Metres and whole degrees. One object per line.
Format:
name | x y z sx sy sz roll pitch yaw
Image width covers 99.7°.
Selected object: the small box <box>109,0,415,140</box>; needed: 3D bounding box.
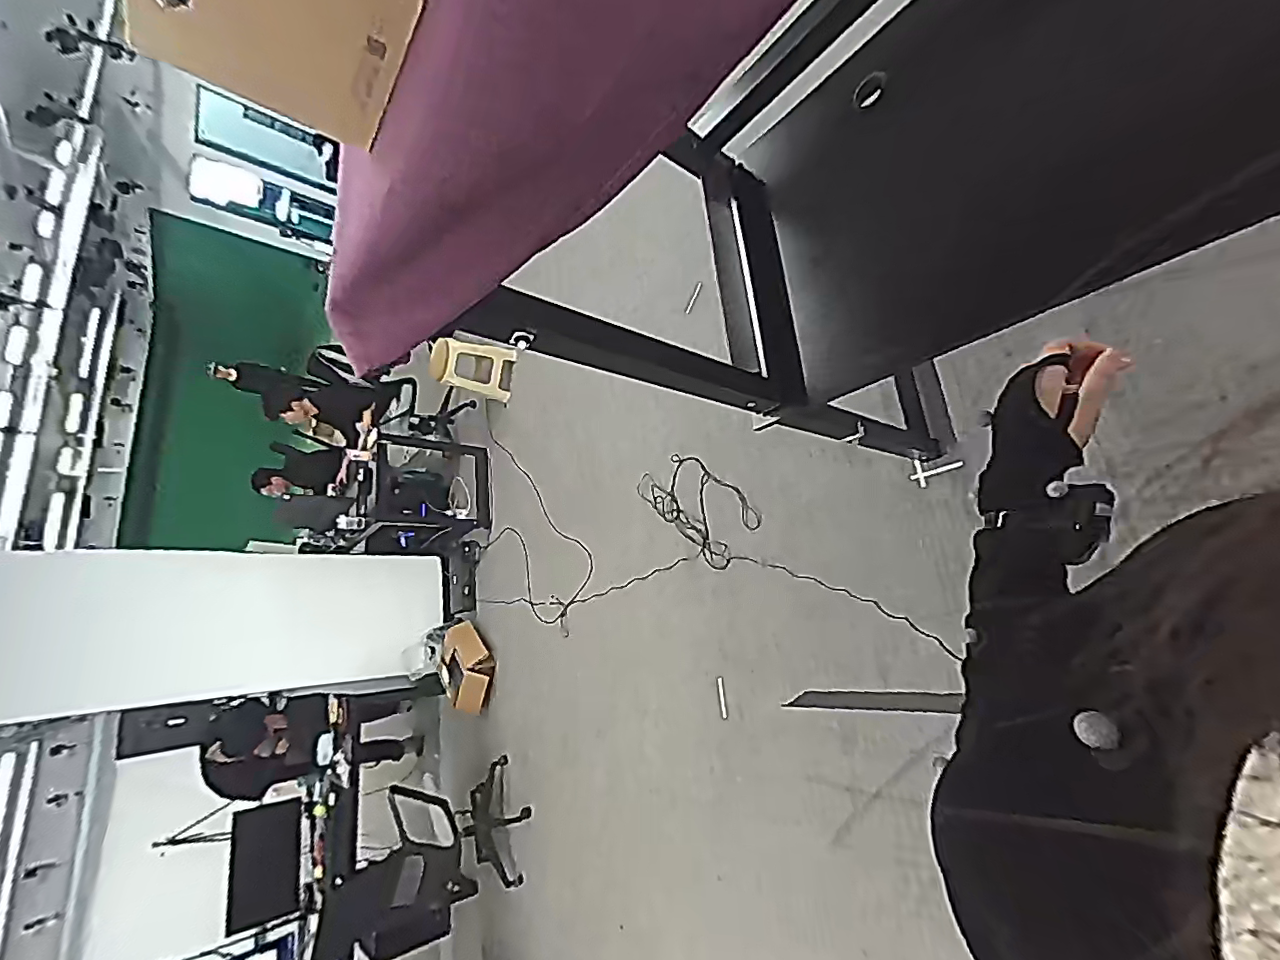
small box | -0.280 -0.417 0.416 0.168 0.176 0.179 -25 65 46
